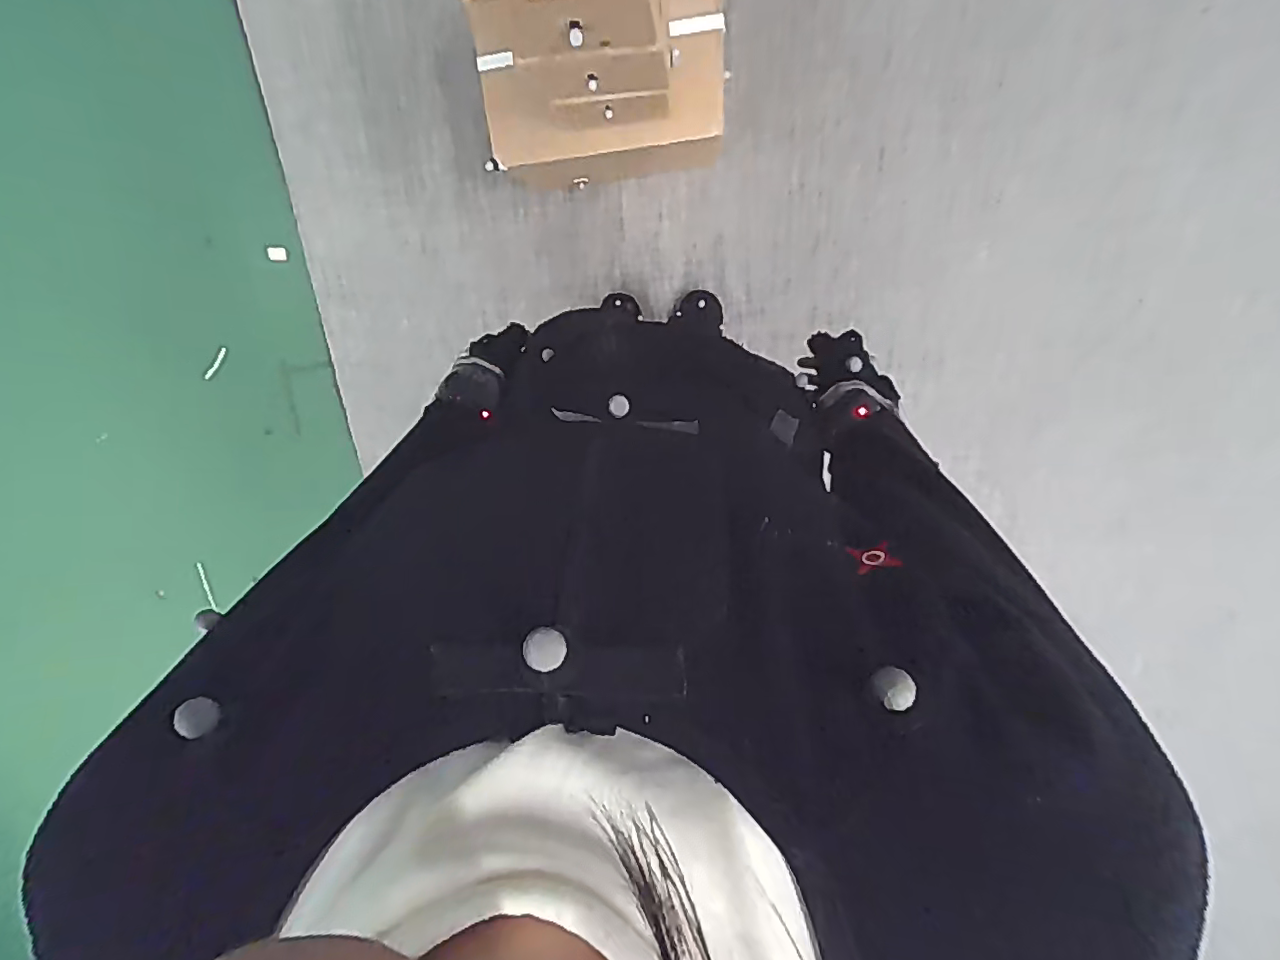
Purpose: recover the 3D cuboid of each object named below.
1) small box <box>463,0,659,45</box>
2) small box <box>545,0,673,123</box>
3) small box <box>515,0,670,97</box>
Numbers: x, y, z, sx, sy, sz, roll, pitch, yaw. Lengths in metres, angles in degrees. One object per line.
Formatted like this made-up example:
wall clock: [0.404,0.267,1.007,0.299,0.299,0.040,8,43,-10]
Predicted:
small box: [-0.073,-0.534,0.500,0.168,0.176,0.179,0,114,8]
small box: [-0.045,-0.651,0.806,0.179,0.176,0.168,-2,114,6]
small box: [-0.055,-0.588,0.654,0.179,0.176,0.168,-3,113,7]
